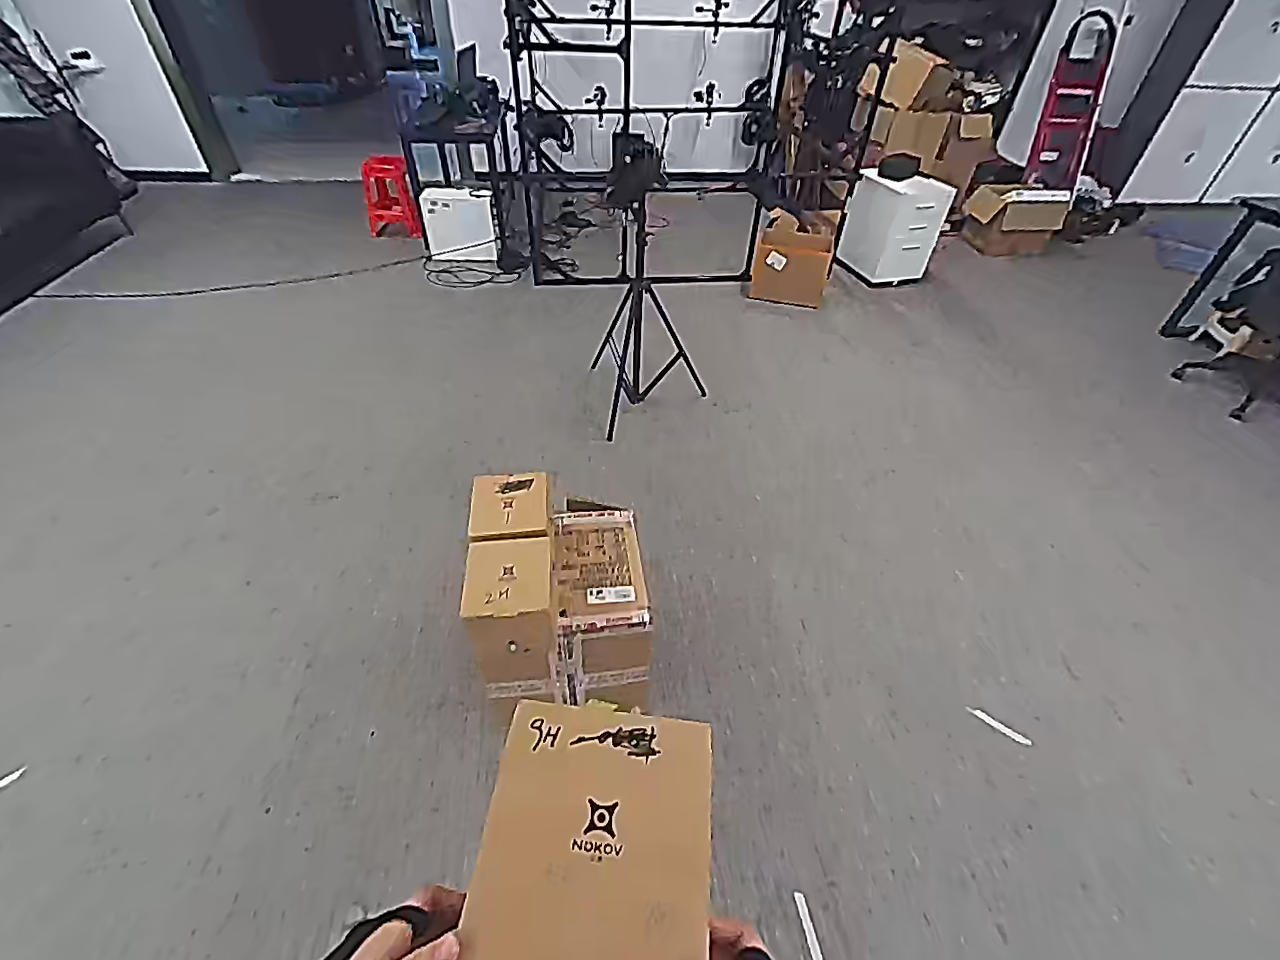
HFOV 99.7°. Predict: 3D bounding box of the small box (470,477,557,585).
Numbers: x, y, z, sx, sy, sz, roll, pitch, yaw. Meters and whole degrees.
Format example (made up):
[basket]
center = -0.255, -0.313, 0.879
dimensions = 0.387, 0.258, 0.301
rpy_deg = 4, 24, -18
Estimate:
[small box]
center = -0.282, 0.116, 1.242
dimensions = 0.168, 0.176, 0.179
rpy_deg = -6, 46, -5
